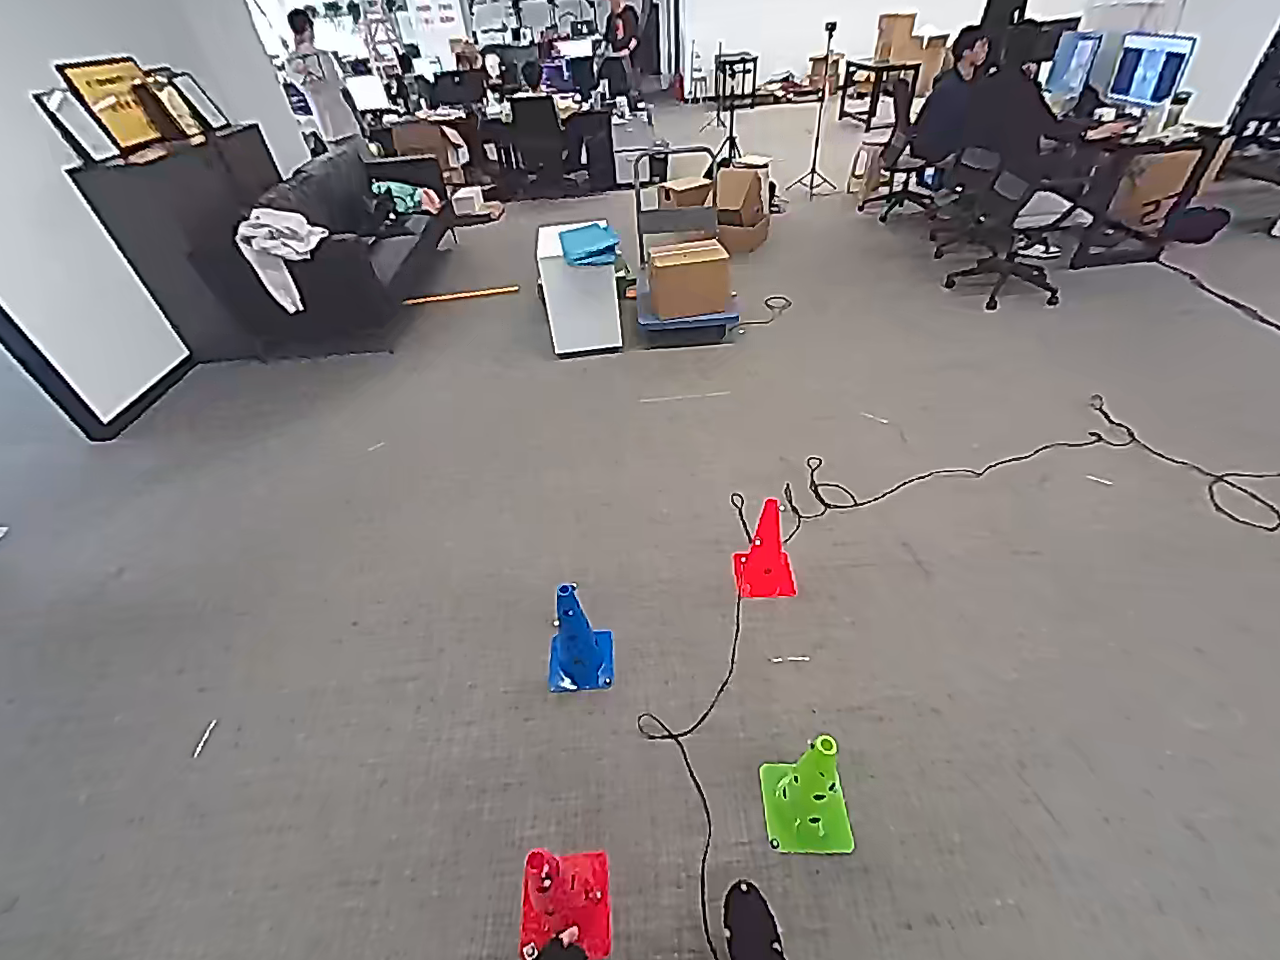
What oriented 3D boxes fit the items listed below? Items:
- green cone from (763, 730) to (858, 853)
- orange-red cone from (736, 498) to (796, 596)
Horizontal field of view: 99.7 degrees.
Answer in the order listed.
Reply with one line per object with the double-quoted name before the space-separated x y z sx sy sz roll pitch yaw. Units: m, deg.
"green cone" 0.406 0.677 1.230 0.200 0.368 0.202 -3 40 3
"orange-red cone" 0.424 0.201 1.785 0.198 0.360 0.199 -2 42 5
